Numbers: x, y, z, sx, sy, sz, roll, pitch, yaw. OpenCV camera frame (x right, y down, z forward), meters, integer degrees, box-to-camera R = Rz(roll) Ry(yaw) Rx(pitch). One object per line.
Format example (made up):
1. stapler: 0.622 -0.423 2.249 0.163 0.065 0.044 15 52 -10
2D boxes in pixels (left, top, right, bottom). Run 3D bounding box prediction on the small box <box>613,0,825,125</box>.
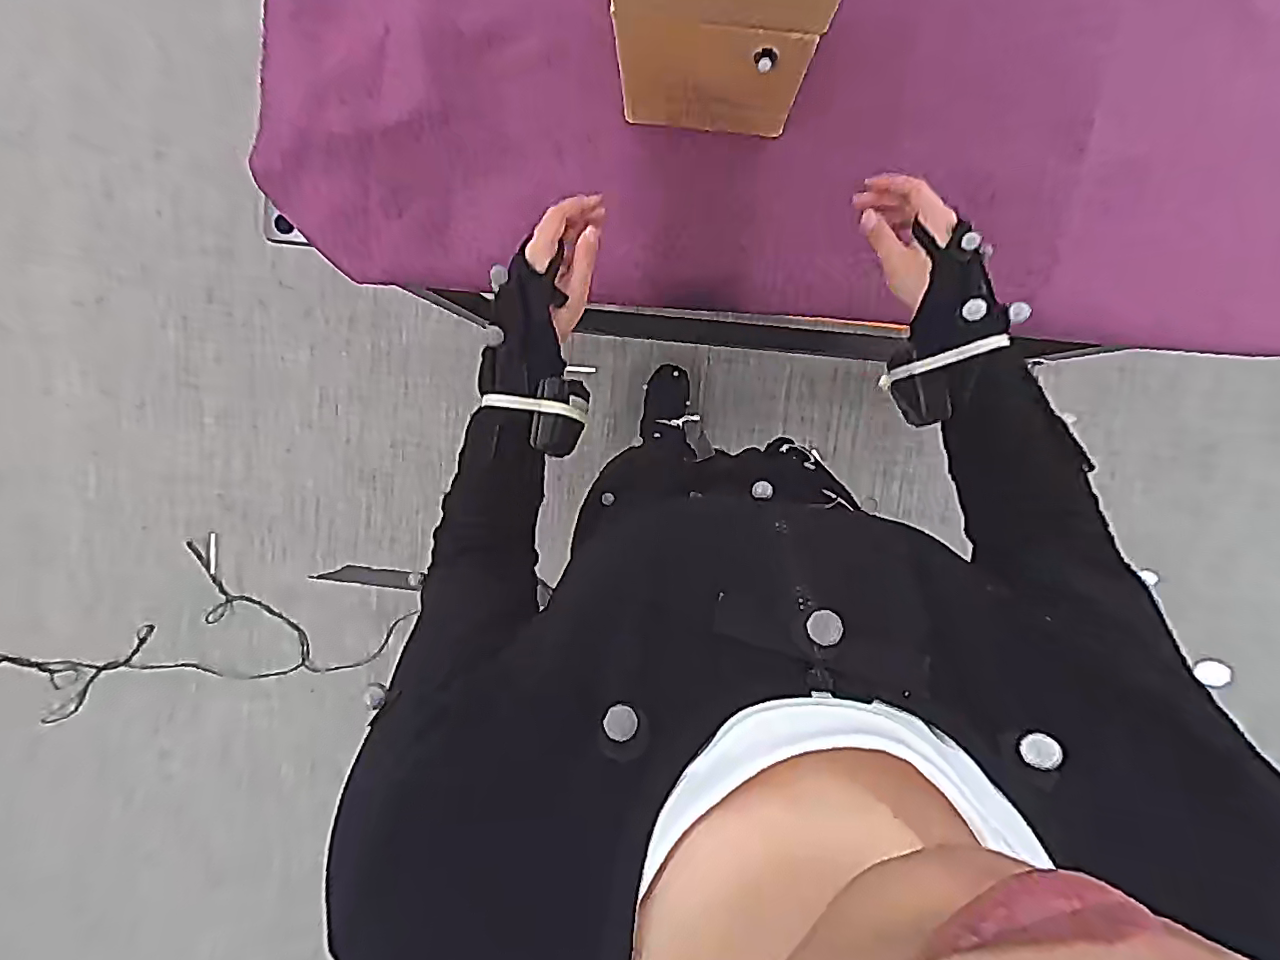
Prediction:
1. small box: 0.073 -0.467 0.509 0.179 0.176 0.168 6 97 1
